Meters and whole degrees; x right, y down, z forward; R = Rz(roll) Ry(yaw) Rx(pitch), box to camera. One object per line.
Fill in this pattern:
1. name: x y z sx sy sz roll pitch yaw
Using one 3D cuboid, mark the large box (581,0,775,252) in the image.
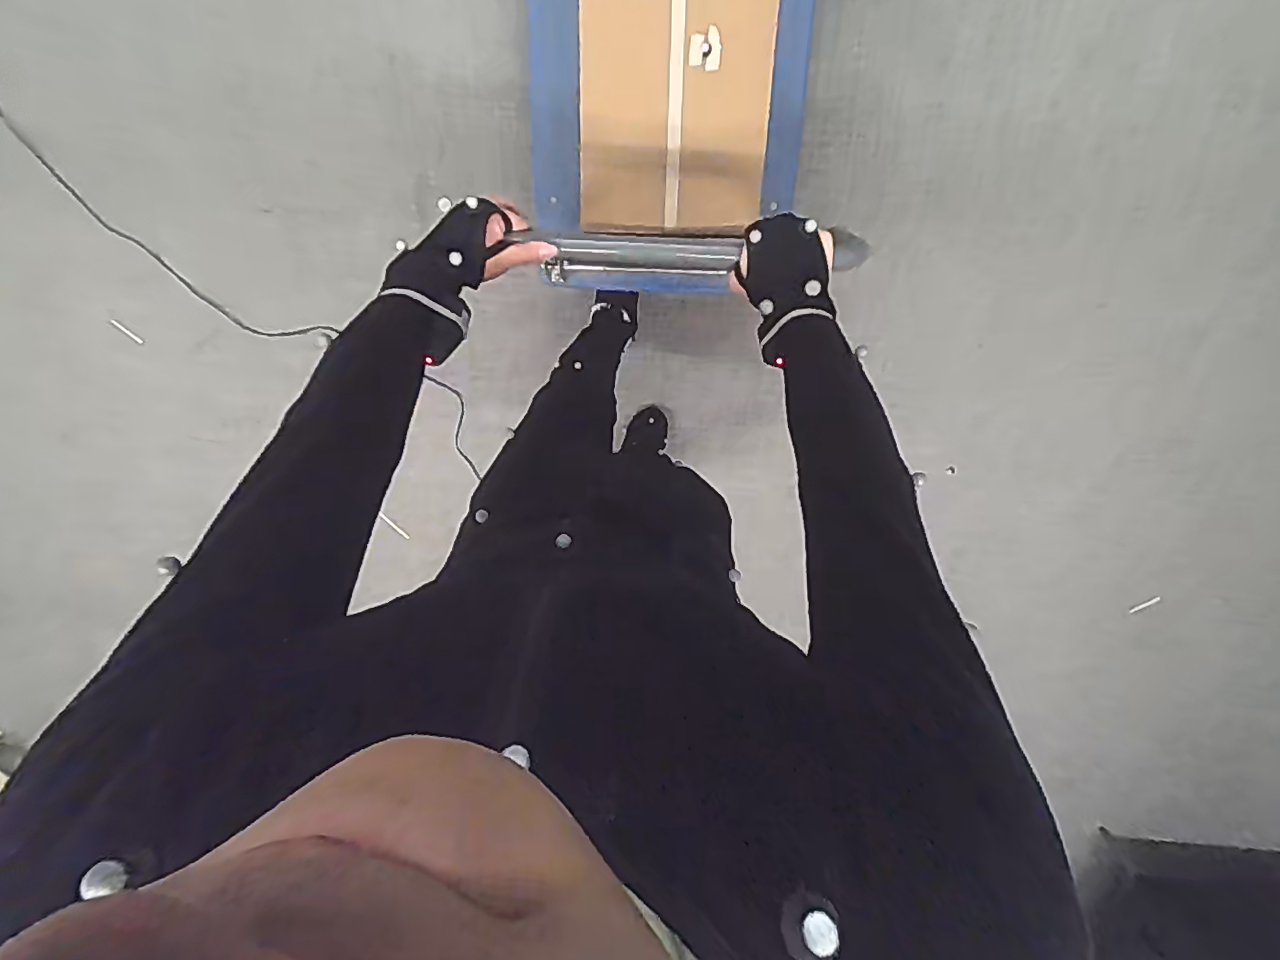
1. large box: 0.065 -0.668 1.045 0.320 0.320 0.408 3 109 2
